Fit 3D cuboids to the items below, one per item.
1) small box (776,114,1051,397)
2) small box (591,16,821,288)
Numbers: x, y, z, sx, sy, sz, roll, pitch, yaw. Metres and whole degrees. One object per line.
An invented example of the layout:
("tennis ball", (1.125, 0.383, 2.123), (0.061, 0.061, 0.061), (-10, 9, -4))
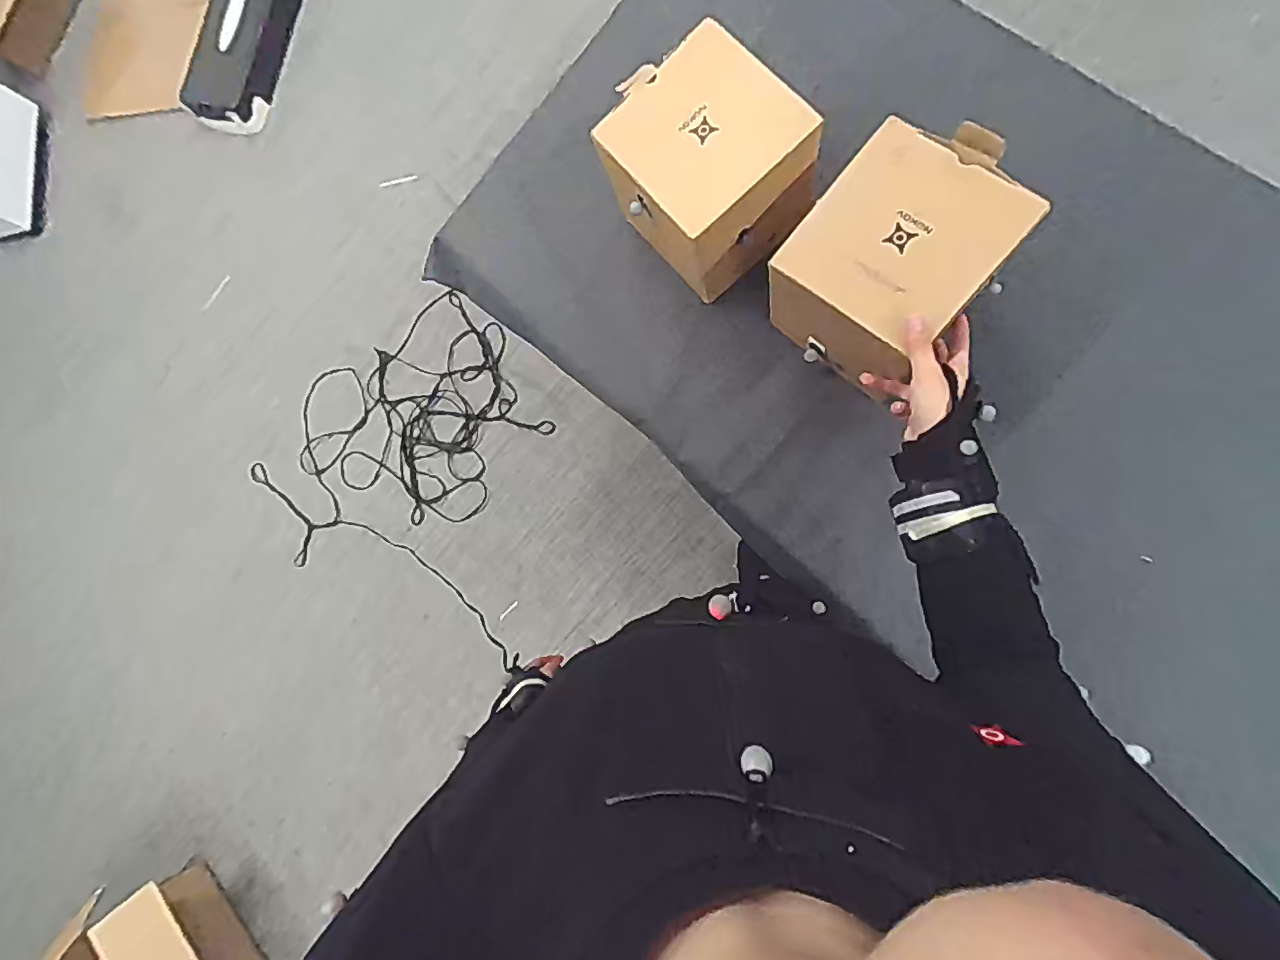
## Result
("small box", (0.257, -0.215, 0.563), (0.168, 0.176, 0.179), (40, 95, 15))
("small box", (0.079, -0.347, 0.616), (0.168, 0.176, 0.179), (-41, 78, 7))
